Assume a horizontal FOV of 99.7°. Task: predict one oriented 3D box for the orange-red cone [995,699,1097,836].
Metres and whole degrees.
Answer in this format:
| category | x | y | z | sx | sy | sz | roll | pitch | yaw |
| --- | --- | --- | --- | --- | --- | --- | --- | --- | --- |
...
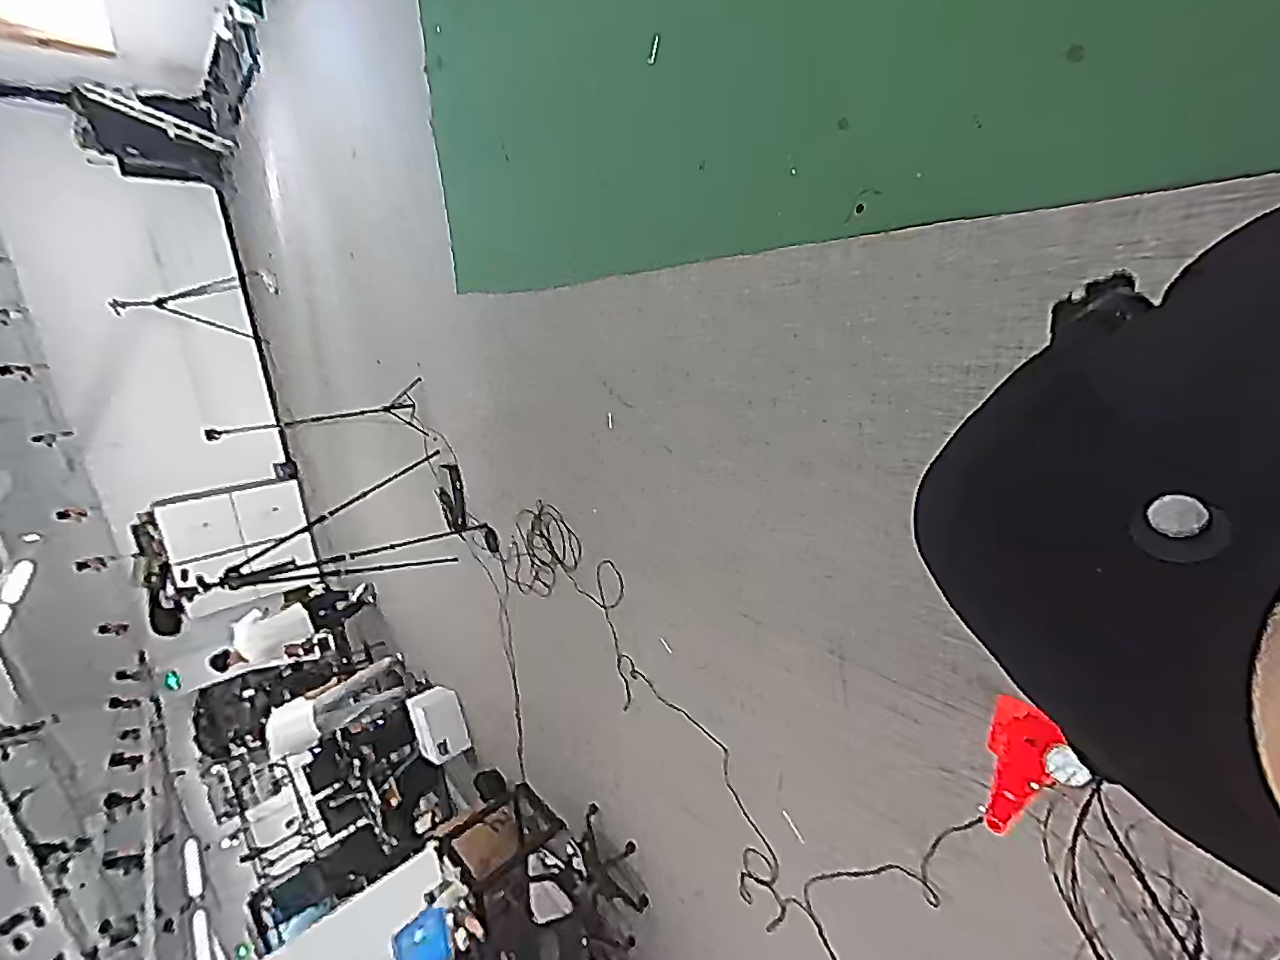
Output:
| category | x | y | z | sx | sy | sz | roll | pitch | yaw |
| --- | --- | --- | --- | --- | --- | --- | --- | --- | --- |
| orange-red cone | 0.942 | 0.734 | 1.318 | 0.198 | 0.360 | 0.199 | 19 | 116 | 43 |
